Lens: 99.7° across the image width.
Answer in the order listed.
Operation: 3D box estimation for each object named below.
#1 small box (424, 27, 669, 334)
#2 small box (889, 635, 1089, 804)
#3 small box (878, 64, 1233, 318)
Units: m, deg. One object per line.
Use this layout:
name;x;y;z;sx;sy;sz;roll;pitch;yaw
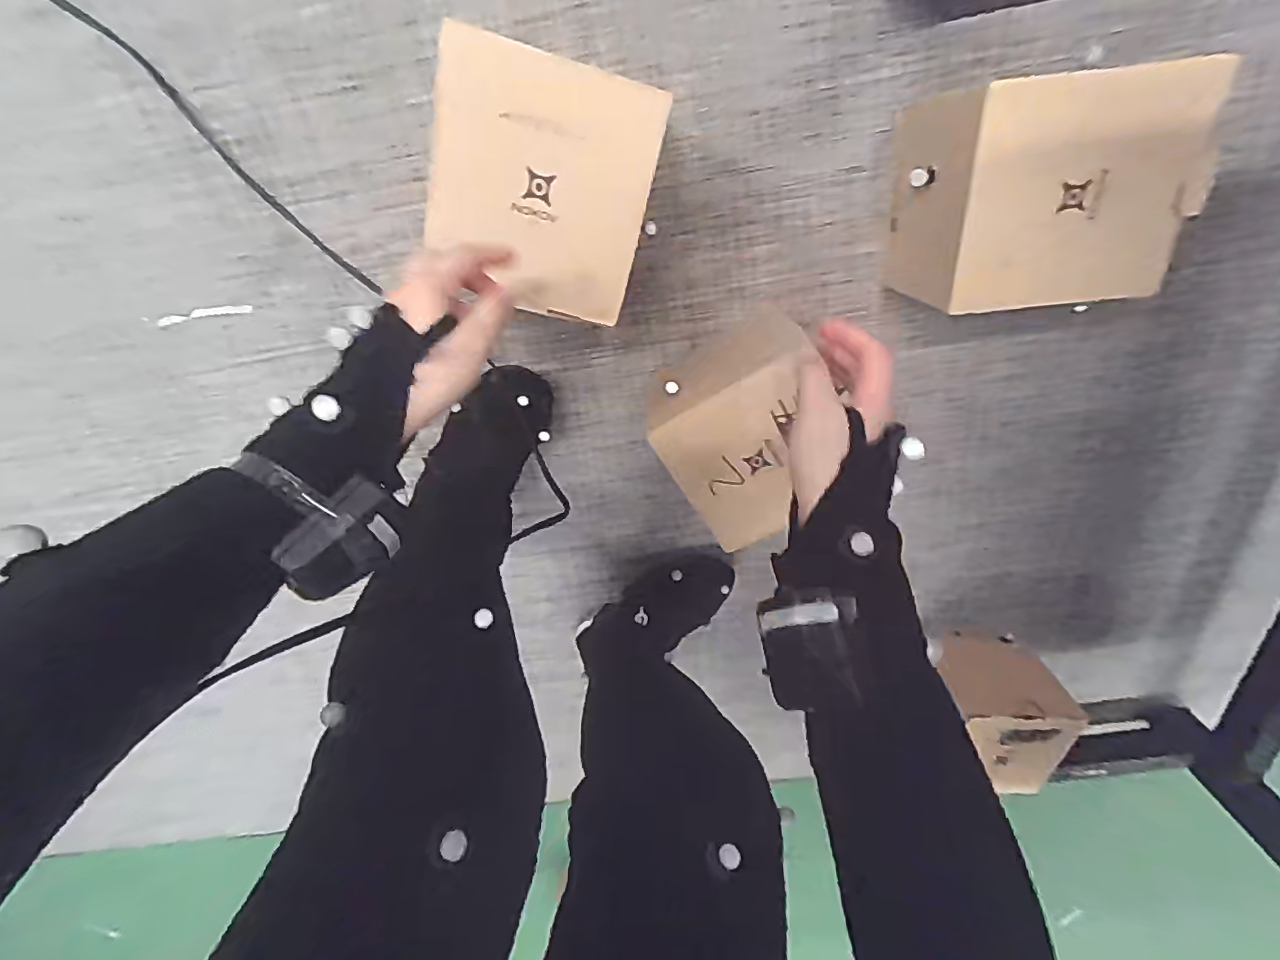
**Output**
small box;-0.079;-0.254;0.486;0.168;0.176;0.179;13;117;-8
small box;0.503;0.354;0.814;0.168;0.176;0.179;3;120;-1
small box;0.338;-0.251;0.490;0.179;0.176;0.168;-5;118;2
